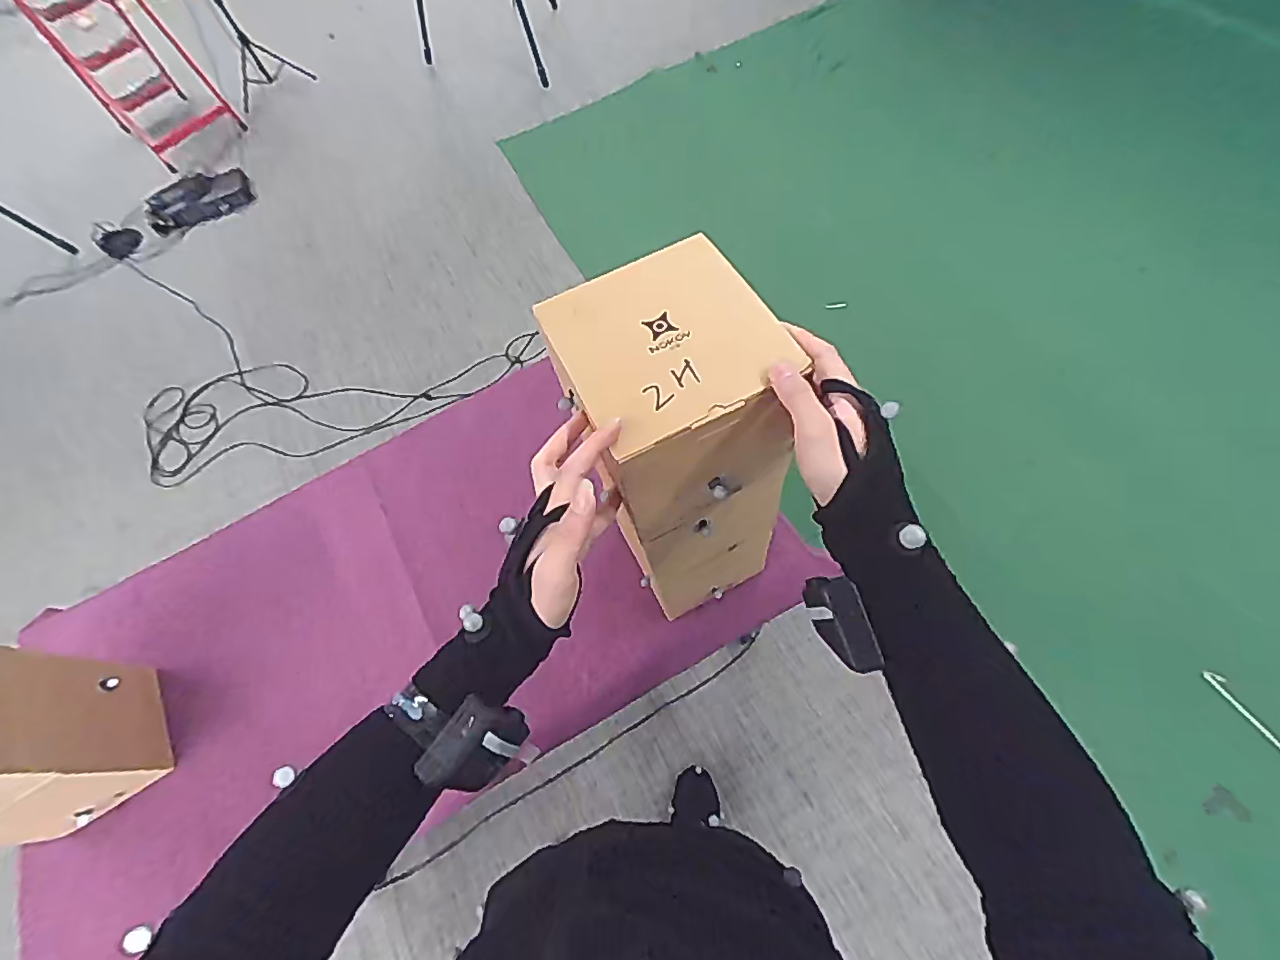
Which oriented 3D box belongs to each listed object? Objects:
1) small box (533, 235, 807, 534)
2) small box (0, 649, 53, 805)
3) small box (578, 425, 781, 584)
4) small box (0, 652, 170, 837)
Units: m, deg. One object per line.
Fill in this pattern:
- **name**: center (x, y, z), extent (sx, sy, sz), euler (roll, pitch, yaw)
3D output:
- **small box**: center (0.025, -0.079, 0.498), extent (0.168, 0.176, 0.179), euler (-26, 63, -5)
- **small box**: center (-0.837, 0.300, 0.615), extent (0.168, 0.176, 0.179), euler (-33, 65, -8)
- **small box**: center (0.046, -0.001, 0.649), extent (0.168, 0.176, 0.179), euler (-27, 63, -5)
- **small box**: center (-0.819, 0.374, 0.760), extent (0.168, 0.176, 0.179), euler (-32, 65, -9)
